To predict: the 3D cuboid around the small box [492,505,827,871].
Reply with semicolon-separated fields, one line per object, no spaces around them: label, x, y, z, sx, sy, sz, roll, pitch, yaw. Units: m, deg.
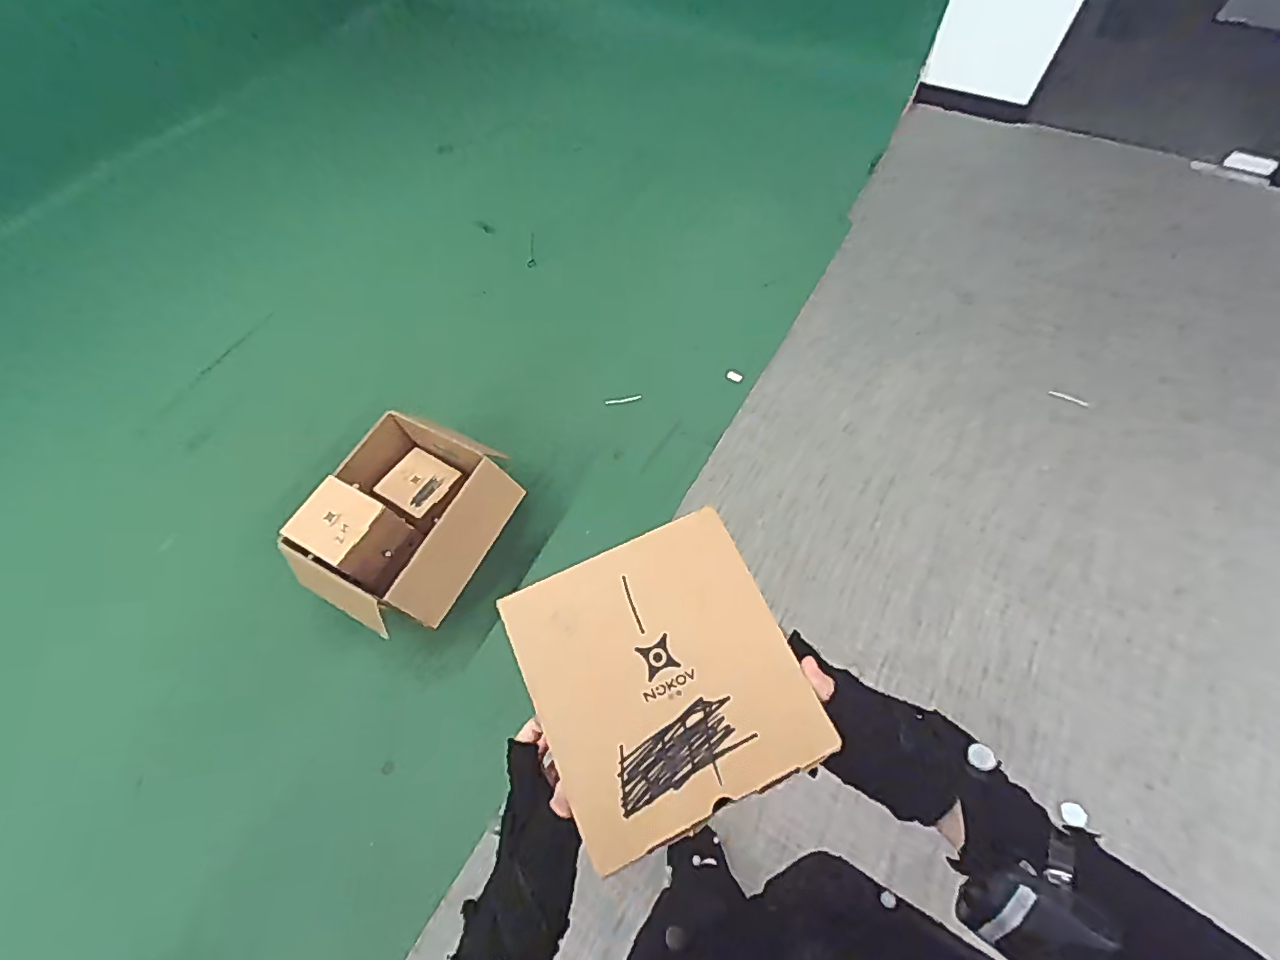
small box;0.009;0.147;0.421;0.168;0.176;0.179;-23;71;-9
